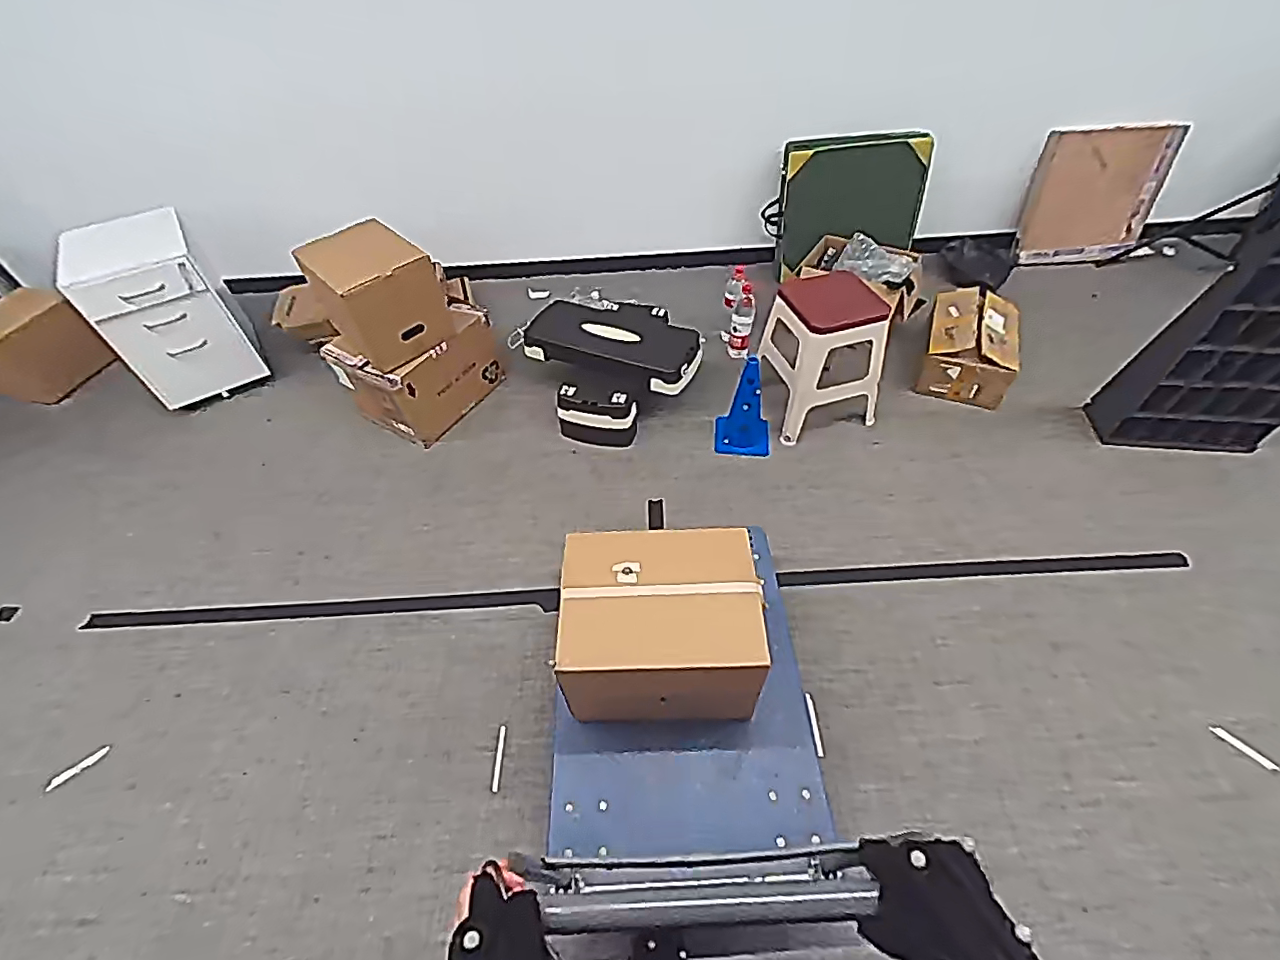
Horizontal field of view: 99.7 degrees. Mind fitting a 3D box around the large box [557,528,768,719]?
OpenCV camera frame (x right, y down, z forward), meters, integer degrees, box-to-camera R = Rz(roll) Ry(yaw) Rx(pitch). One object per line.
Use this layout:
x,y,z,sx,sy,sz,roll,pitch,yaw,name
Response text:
0.047,0.331,1.219,0.408,0.320,0.320,-3,49,2,large box
